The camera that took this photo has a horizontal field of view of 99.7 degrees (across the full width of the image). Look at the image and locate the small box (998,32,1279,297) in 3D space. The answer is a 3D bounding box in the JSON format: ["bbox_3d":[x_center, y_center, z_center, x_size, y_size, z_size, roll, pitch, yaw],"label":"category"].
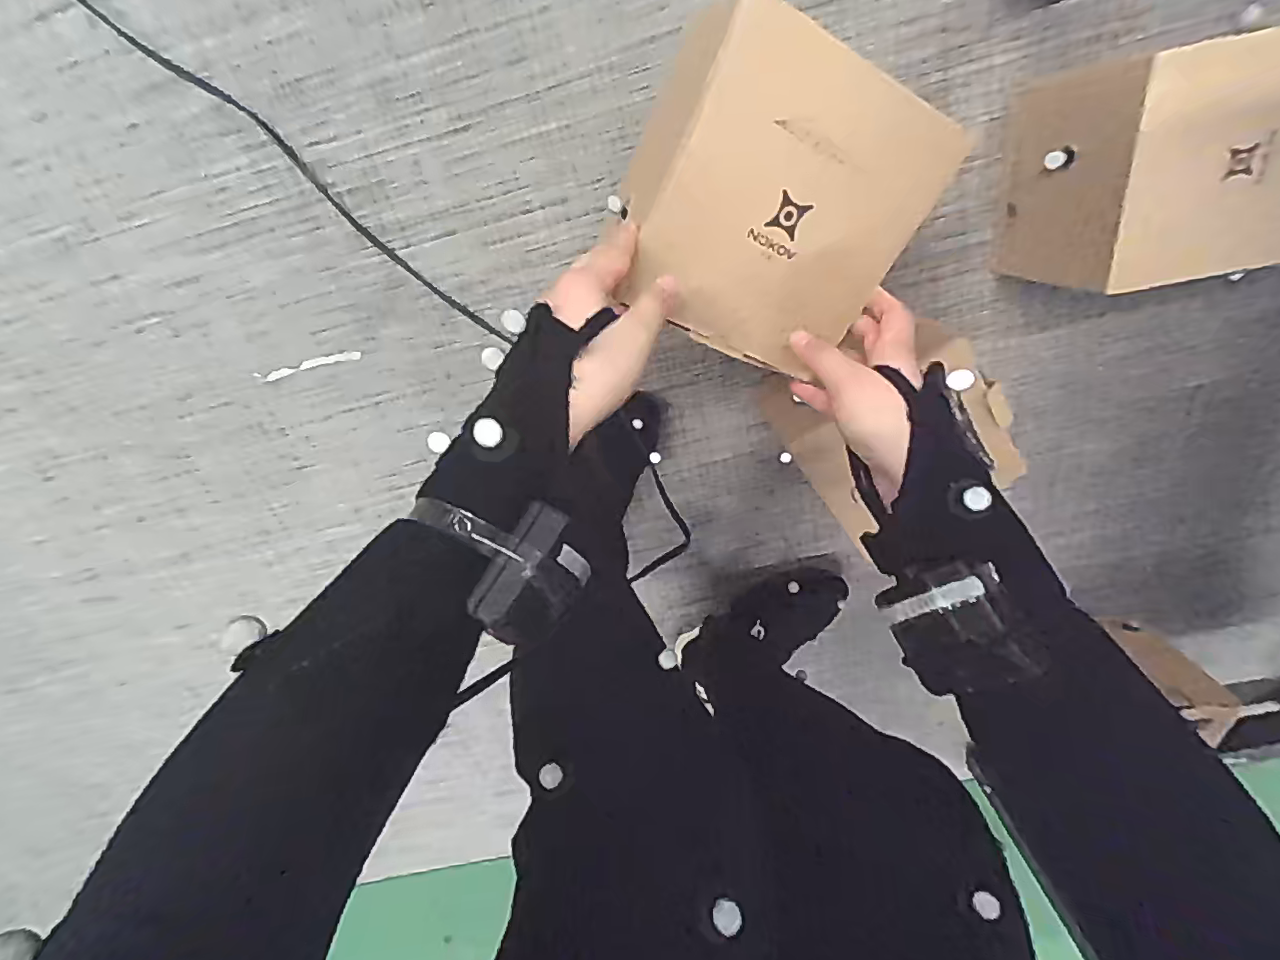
[{"bbox_3d":[0.452,-0.266,0.471,0.179,0.176,0.168,-9,117,3],"label":"small box"}]

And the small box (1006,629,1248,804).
[{"bbox_3d":[0.672,0.330,0.777,0.168,0.176,0.179,-1,119,0],"label":"small box"}]
